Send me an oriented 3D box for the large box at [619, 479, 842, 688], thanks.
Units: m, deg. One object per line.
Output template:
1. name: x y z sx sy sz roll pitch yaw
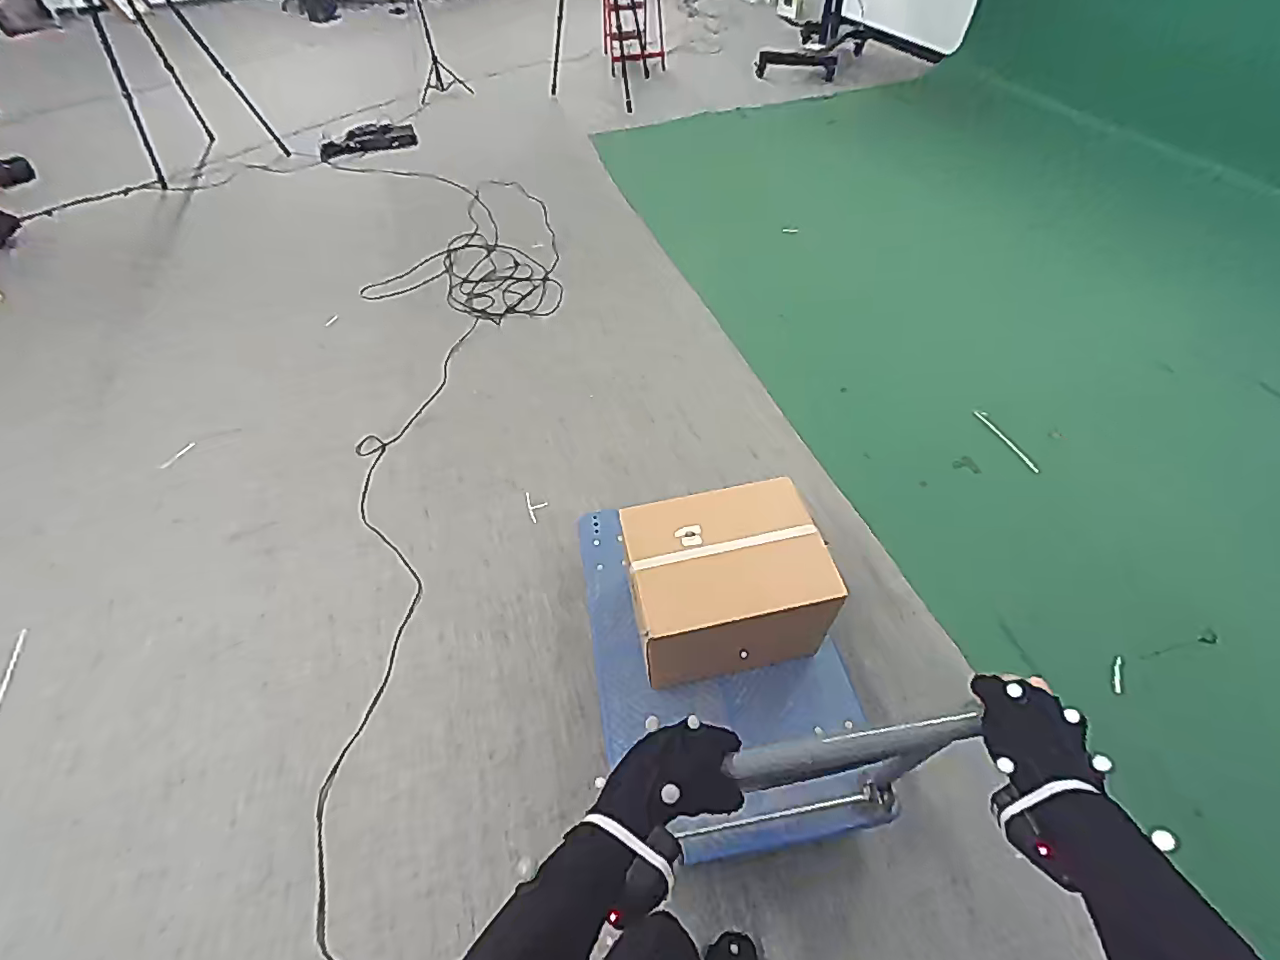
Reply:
1. large box: 0.186 0.244 1.254 0.408 0.320 0.320 -12 51 -5
